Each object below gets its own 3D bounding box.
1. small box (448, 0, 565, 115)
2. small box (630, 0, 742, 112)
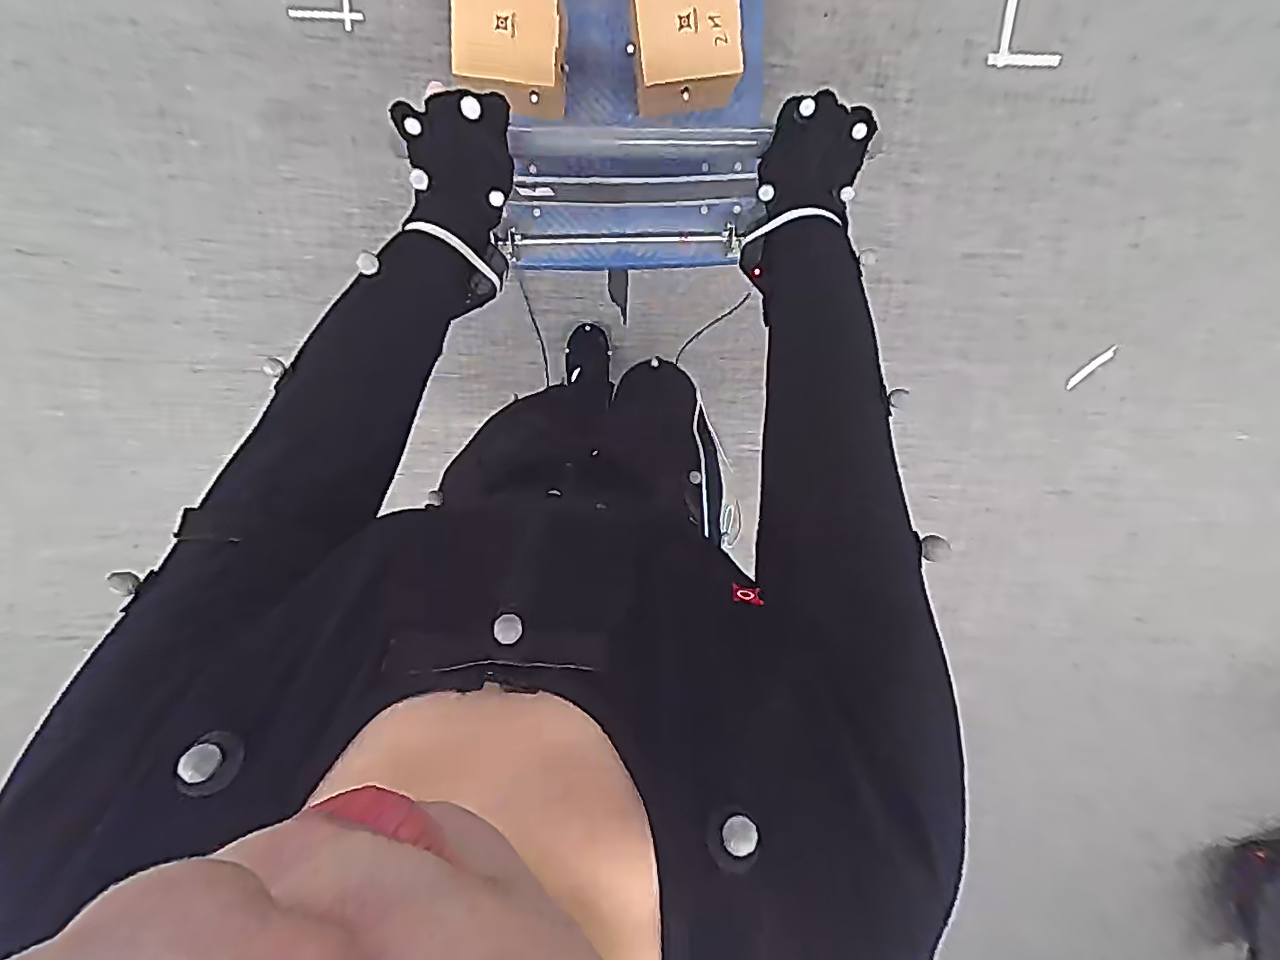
[{"bbox_3d":[-0.230,-0.774,0.958,0.179,0.176,0.168,3,108,-6],"label":"small box"},{"bbox_3d":[0.075,-0.786,0.969,0.179,0.176,0.168,-8,108,0],"label":"small box"}]
